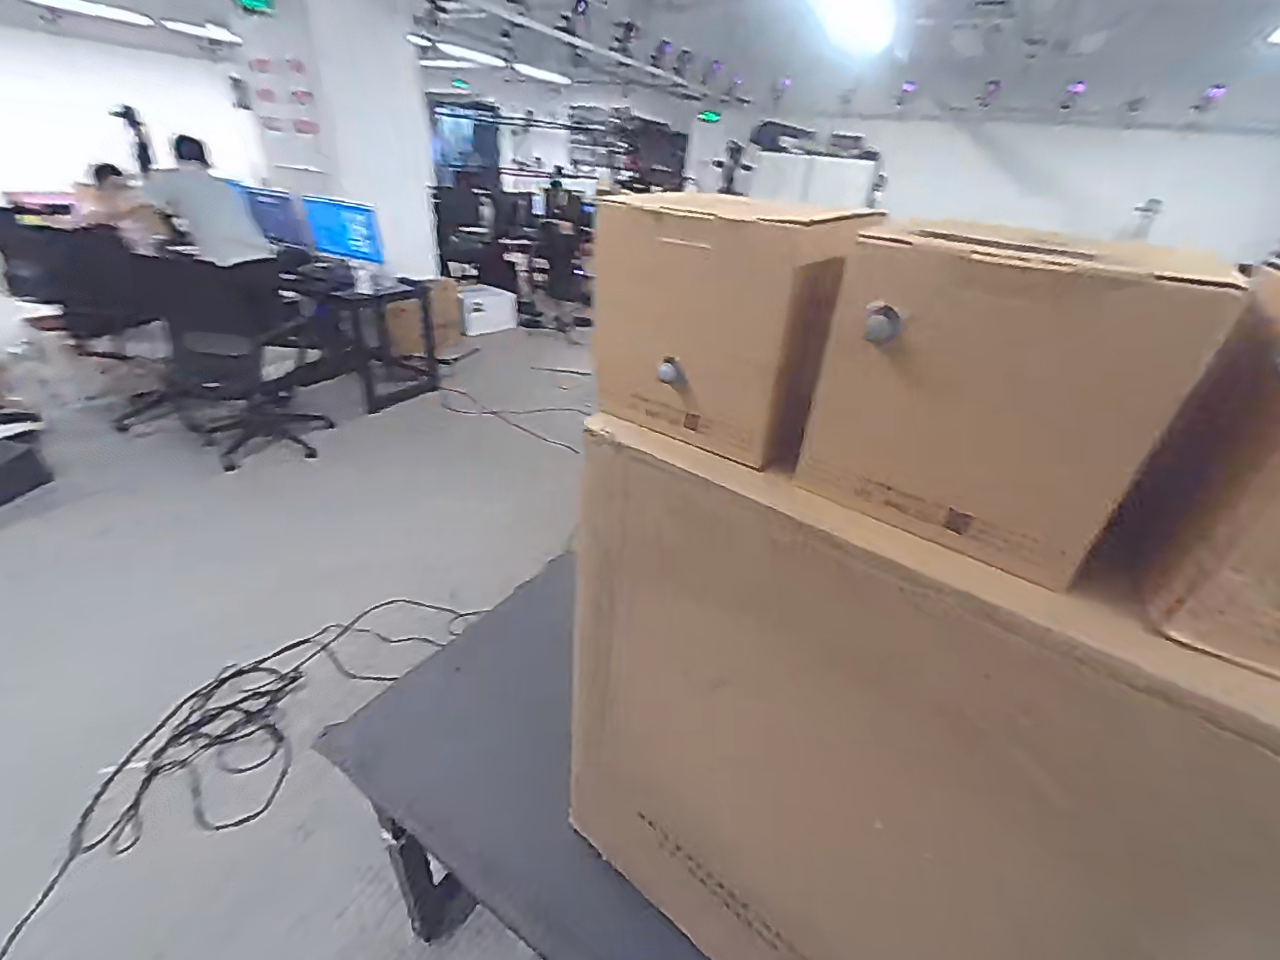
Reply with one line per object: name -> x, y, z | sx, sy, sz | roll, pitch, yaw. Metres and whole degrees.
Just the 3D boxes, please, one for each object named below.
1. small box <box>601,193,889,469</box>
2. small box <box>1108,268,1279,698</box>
small box -> 0.078, -0.134, 0.450 | 0.168, 0.176, 0.179 | 24, 37, 29
small box -> 0.383, 0.012, 0.271 | 0.168, 0.176, 0.179 | 22, 37, 20
